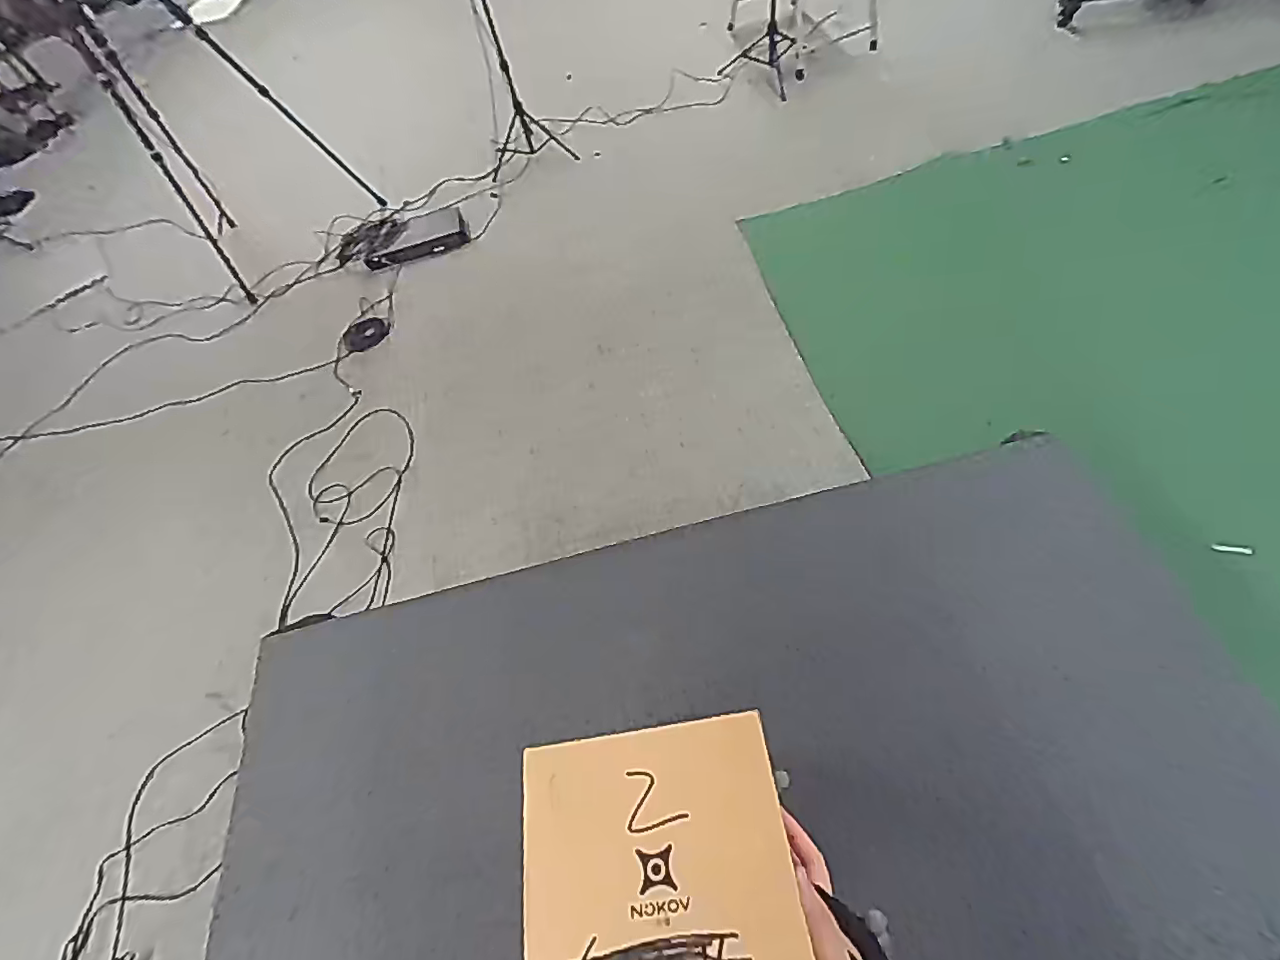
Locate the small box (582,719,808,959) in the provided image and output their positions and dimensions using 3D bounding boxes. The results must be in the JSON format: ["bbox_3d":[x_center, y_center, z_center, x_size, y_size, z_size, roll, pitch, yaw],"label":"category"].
[{"bbox_3d":[0.049,0.351,0.522,0.168,0.176,0.179,-13,57,4],"label":"small box"}]
